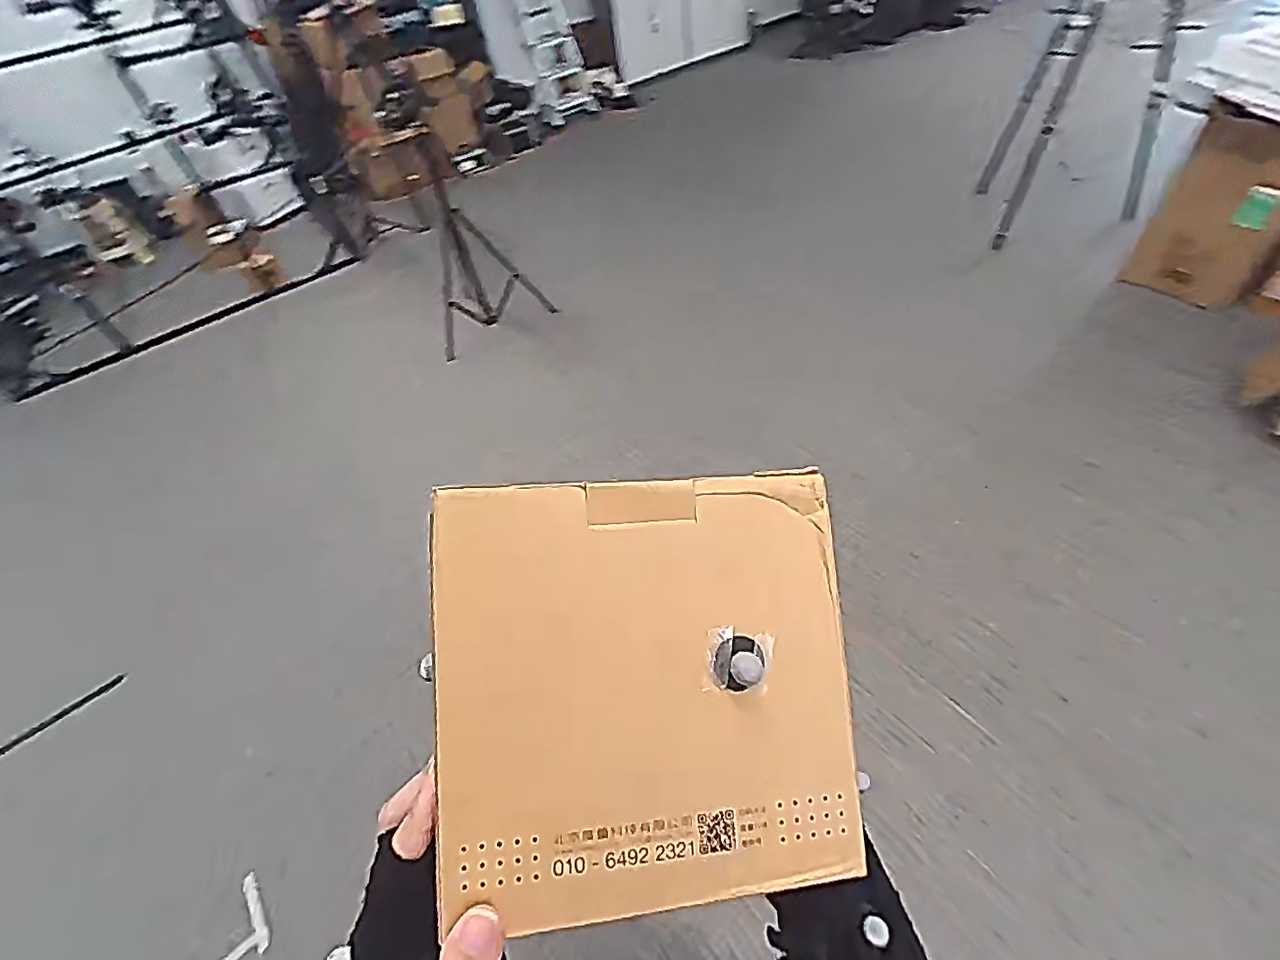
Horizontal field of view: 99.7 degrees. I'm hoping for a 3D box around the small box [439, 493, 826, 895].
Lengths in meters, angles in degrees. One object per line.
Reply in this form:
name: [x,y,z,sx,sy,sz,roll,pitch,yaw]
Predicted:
small box: [-0.010,0.104,0.315,0.168,0.179,0.176,-3,83,-9]
